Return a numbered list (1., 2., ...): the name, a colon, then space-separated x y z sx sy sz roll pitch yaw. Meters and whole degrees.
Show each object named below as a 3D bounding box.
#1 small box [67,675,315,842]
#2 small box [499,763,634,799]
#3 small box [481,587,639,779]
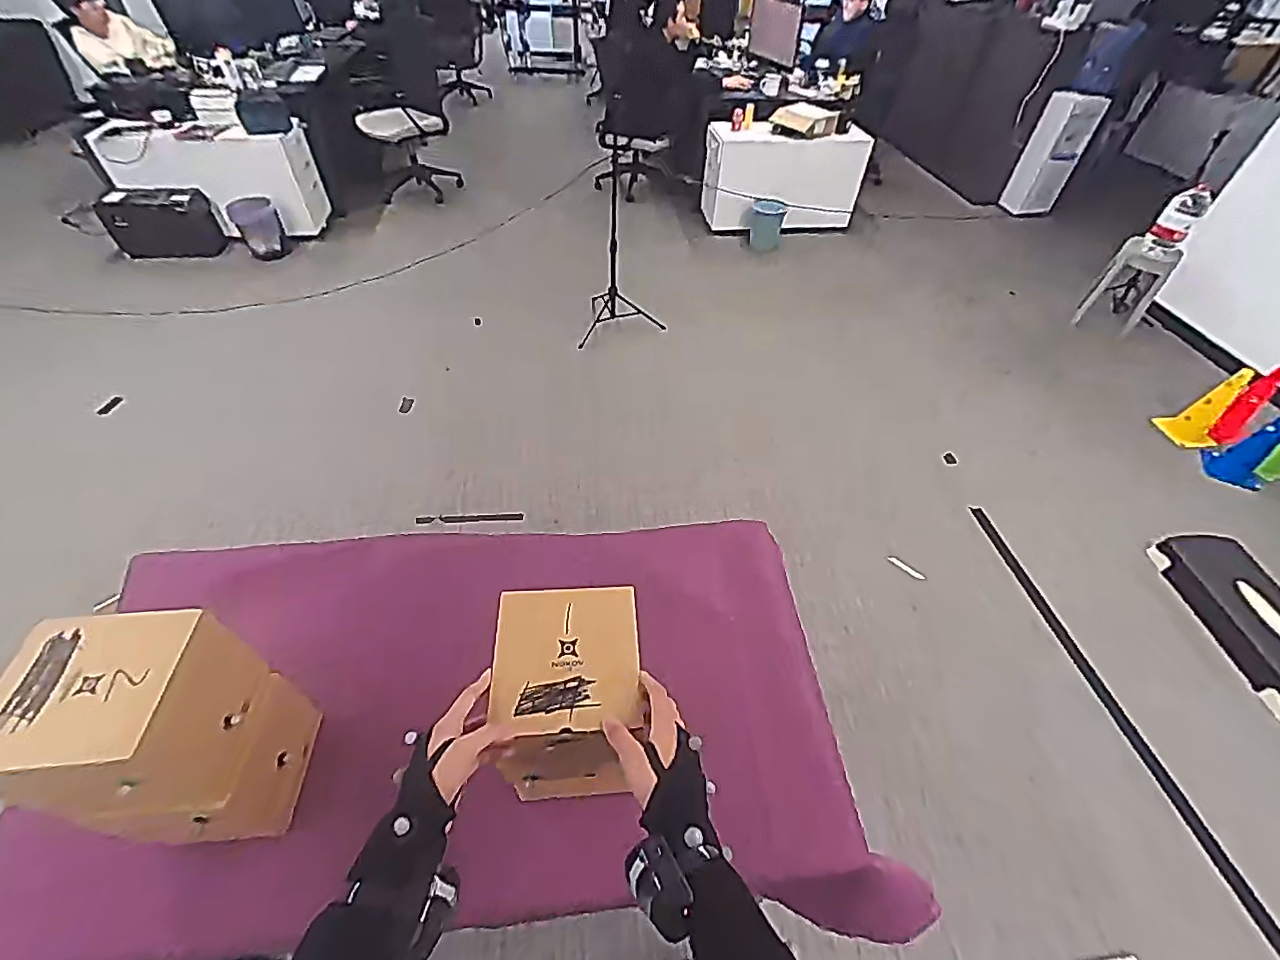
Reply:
1. small box: -0.584 0.382 0.741 0.179 0.176 0.168 -1 47 -5
2. small box: -0.099 0.354 0.796 0.179 0.176 0.168 -2 47 -5
3. small box: -0.088 0.253 0.666 0.168 0.176 0.179 -1 46 -5
